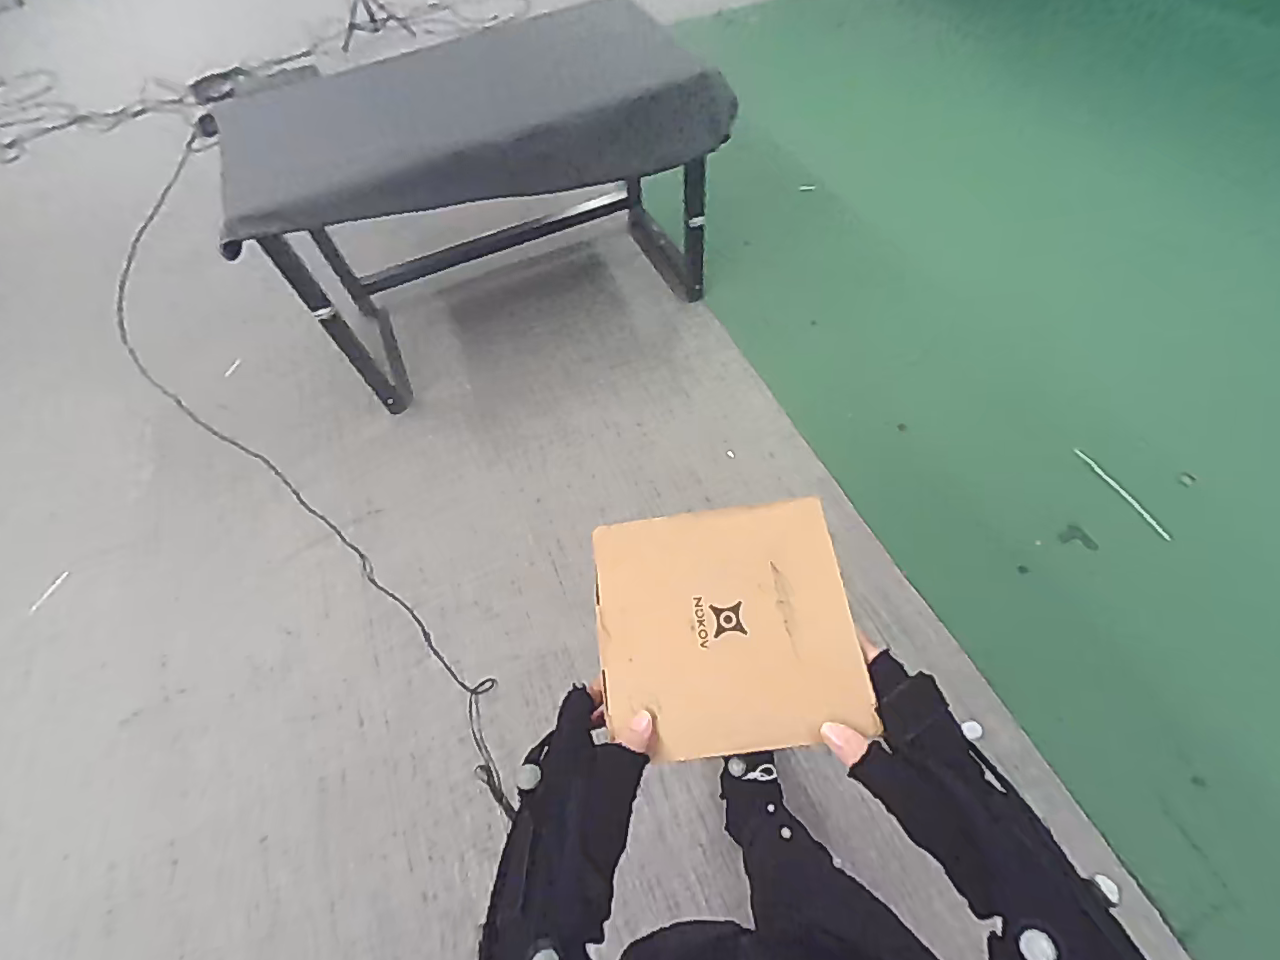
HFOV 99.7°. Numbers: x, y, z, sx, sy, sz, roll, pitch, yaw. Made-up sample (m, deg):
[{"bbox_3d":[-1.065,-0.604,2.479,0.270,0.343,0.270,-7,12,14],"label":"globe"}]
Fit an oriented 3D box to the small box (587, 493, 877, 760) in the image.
[{"bbox_3d":[0.061,0.129,0.446,0.179,0.176,0.168,-9,65,0],"label":"small box"}]
